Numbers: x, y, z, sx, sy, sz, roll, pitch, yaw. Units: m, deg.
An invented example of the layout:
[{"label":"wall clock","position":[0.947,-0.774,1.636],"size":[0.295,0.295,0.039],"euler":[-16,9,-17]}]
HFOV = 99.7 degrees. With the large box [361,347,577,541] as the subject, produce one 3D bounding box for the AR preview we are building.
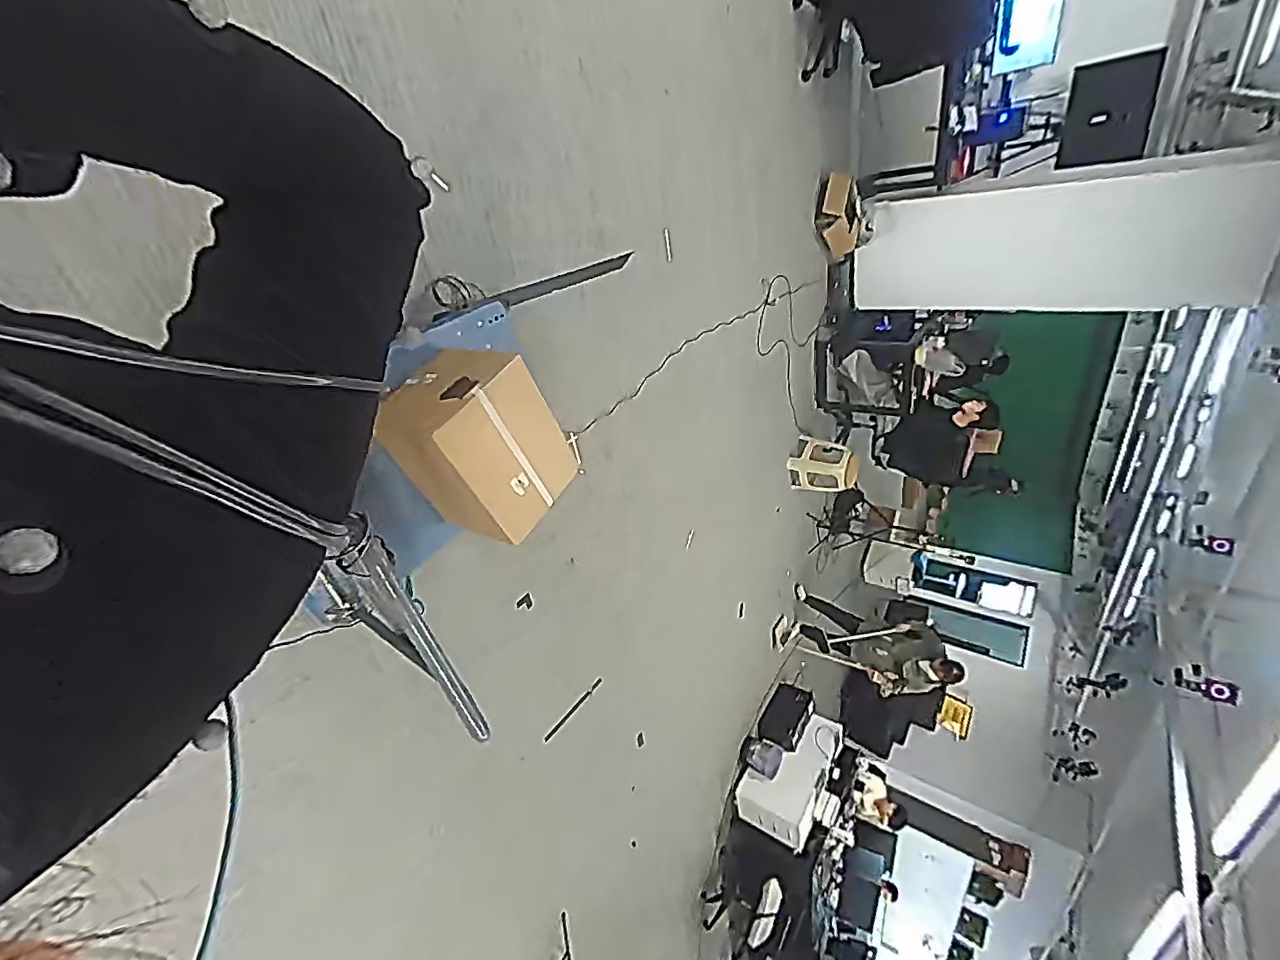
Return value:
[{"label":"large box","position":[-0.442,-0.104,1.458],"size":[0.320,0.320,0.408],"euler":[-54,139,-30]}]
